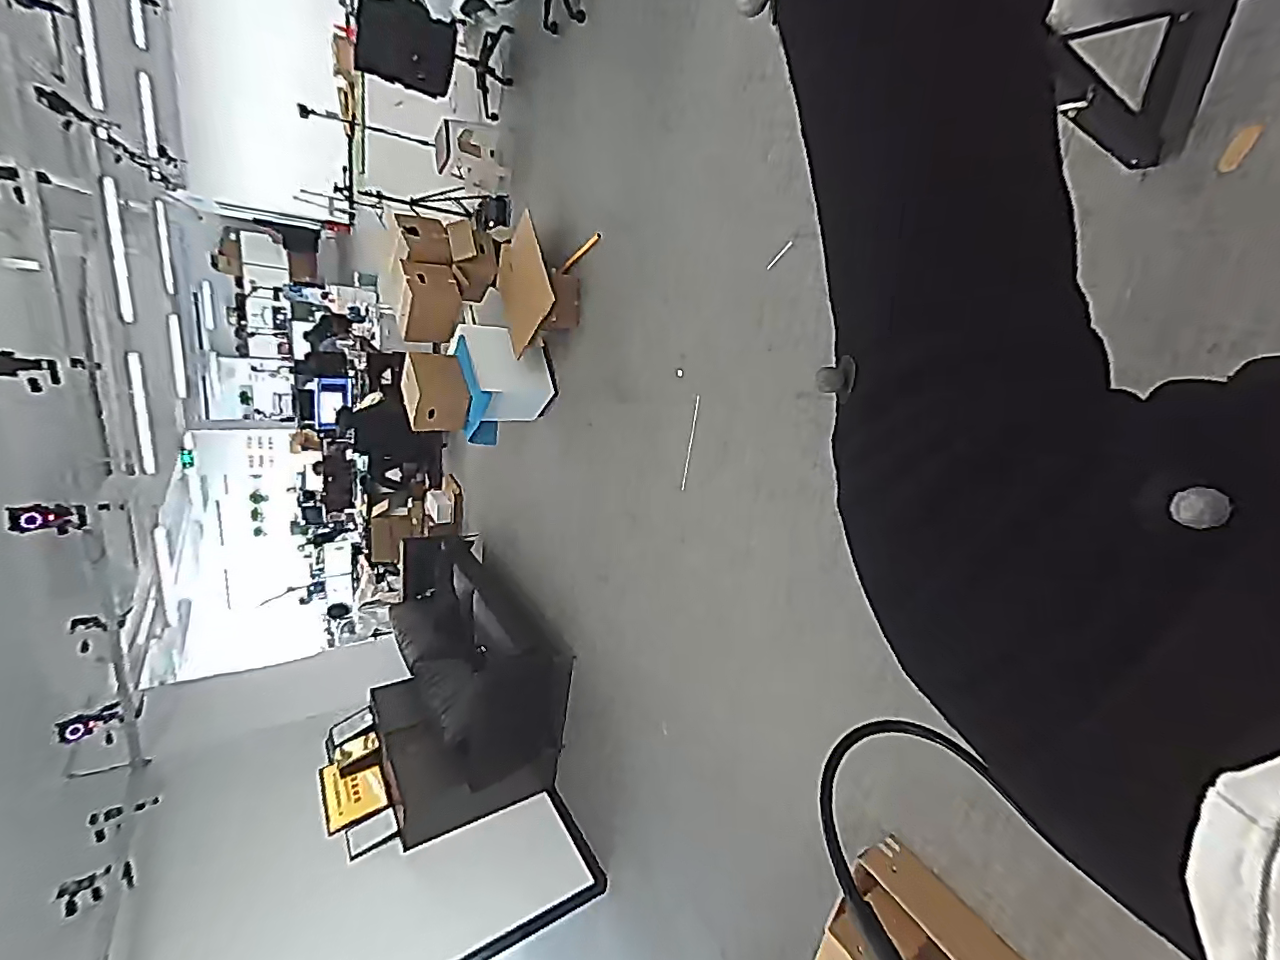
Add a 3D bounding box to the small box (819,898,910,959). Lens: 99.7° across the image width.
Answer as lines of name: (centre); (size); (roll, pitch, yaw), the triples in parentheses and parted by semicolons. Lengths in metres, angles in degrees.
small box: (0.690, 1.444, 1.657); (0.179, 0.176, 0.168); (32, 119, 50)
